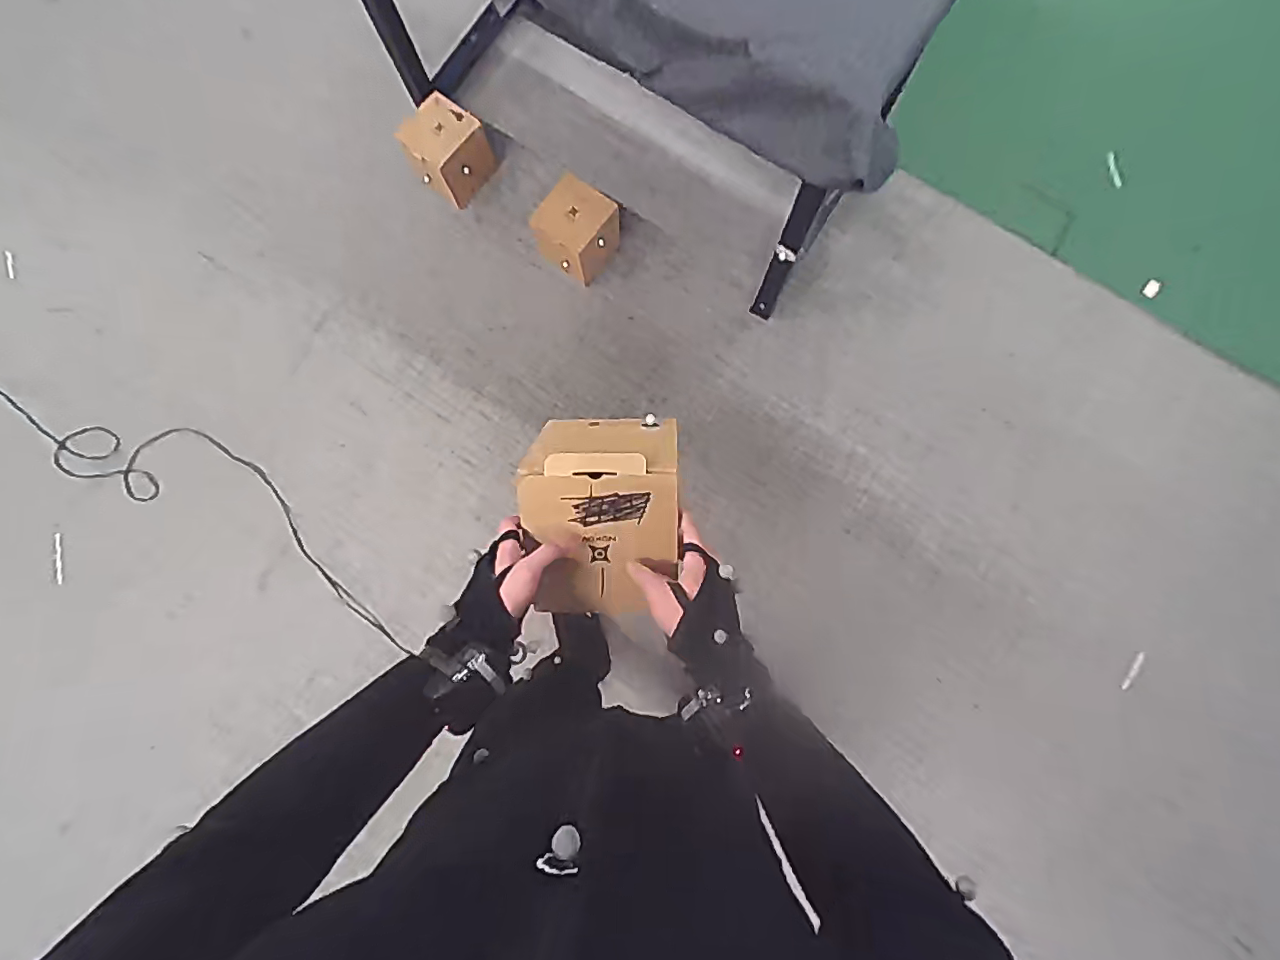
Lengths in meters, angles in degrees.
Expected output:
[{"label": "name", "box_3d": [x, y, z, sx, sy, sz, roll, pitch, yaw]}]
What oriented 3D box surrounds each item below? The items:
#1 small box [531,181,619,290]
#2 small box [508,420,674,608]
[{"label": "small box", "box_3d": [-0.168, -0.661, 1.481, 0.168, 0.176, 0.179, 35, 82, 5]}, {"label": "small box", "box_3d": [-0.045, 0.031, 0.641, 0.168, 0.176, 0.179, -1, 114, 5]}]
